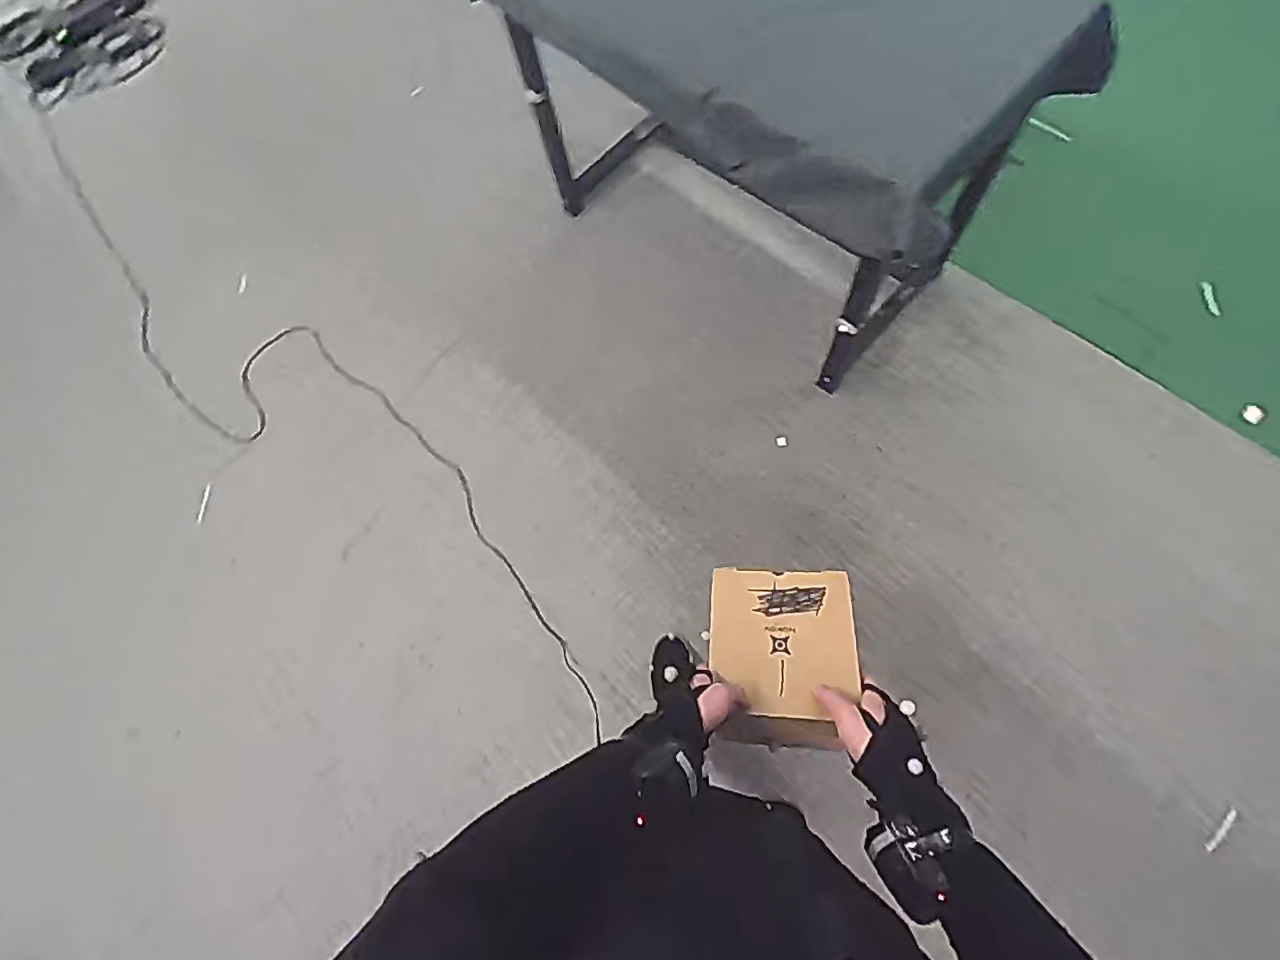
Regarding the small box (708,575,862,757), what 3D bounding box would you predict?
[{"bbox_3d":[0.176,0.239,0.694,0.168,0.176,0.179,-1,54,11],"label":"small box"}]
